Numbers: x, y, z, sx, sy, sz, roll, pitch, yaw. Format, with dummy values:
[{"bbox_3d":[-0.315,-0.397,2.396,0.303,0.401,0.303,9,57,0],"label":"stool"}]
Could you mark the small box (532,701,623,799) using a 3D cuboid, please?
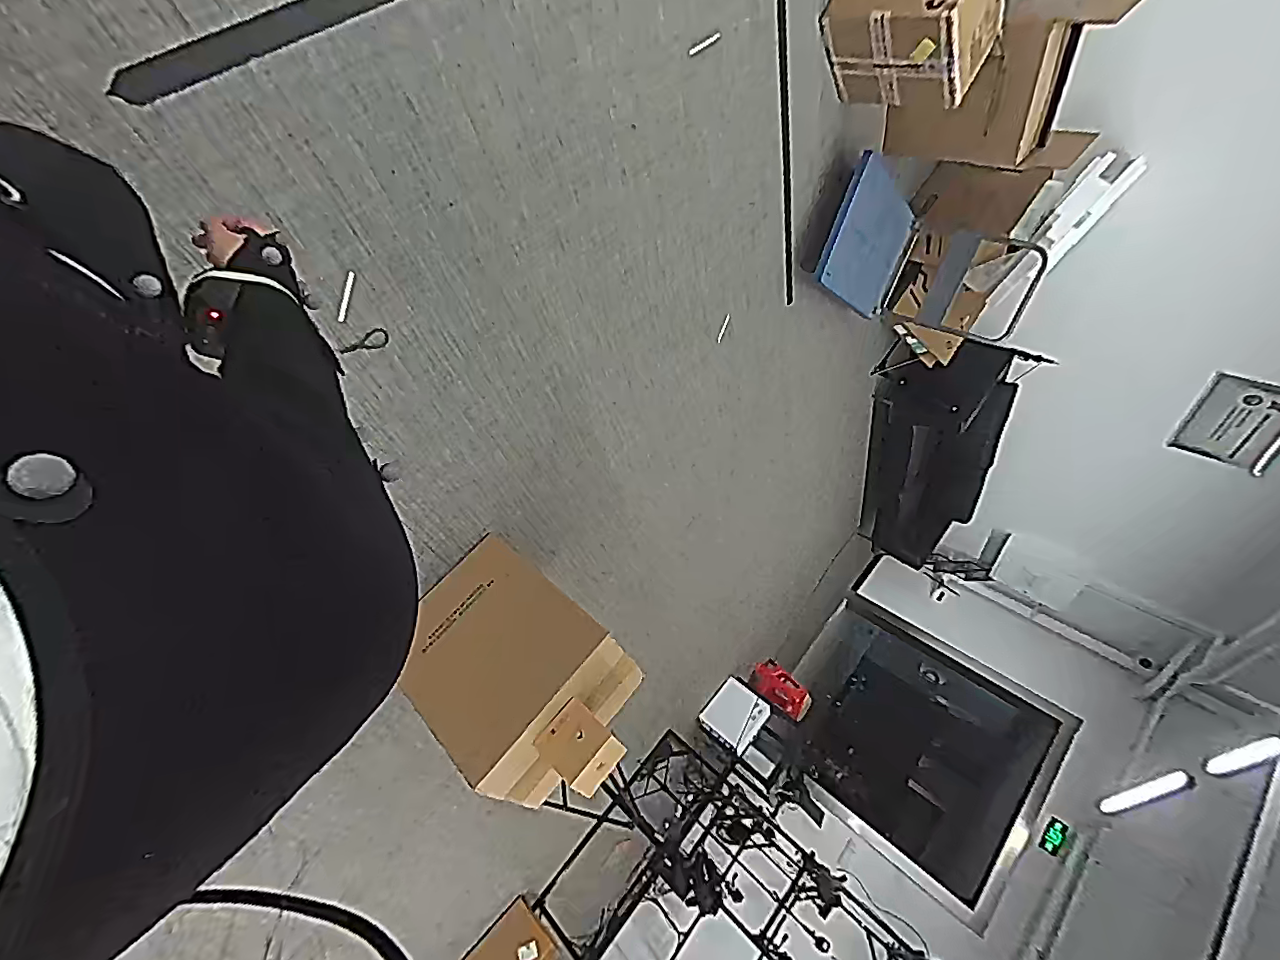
[{"bbox_3d":[-0.177,0.757,1.529,0.168,0.176,0.179,-46,144,-21],"label":"small box"}]
